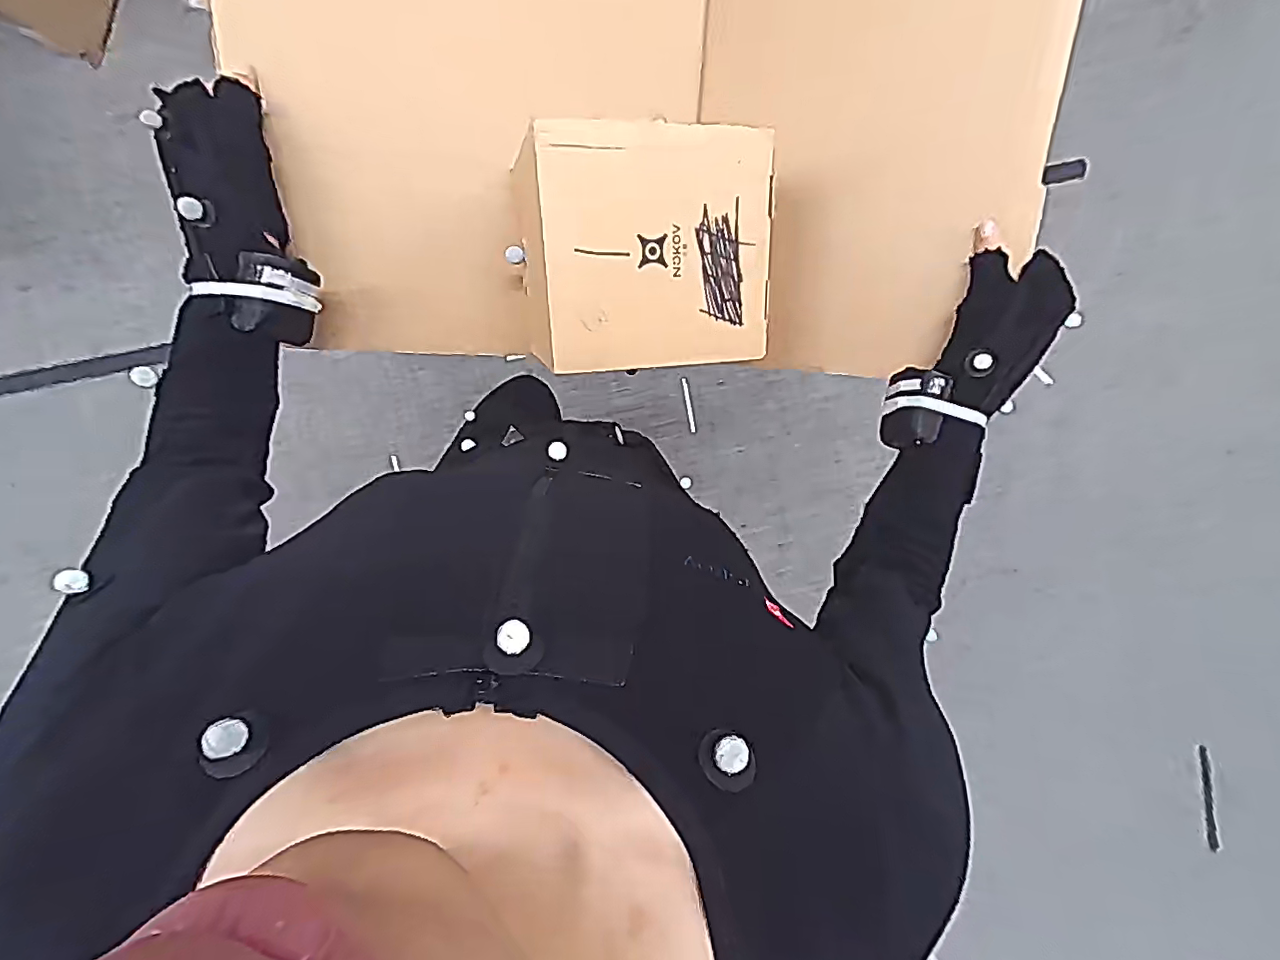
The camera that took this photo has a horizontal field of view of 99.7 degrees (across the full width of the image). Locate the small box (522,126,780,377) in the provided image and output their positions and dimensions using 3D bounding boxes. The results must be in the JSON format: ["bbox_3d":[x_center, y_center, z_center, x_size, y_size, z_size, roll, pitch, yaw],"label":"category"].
[{"bbox_3d":[-0.002,-0.188,0.471,0.179,0.176,0.168,-7,110,-14],"label":"small box"}]
